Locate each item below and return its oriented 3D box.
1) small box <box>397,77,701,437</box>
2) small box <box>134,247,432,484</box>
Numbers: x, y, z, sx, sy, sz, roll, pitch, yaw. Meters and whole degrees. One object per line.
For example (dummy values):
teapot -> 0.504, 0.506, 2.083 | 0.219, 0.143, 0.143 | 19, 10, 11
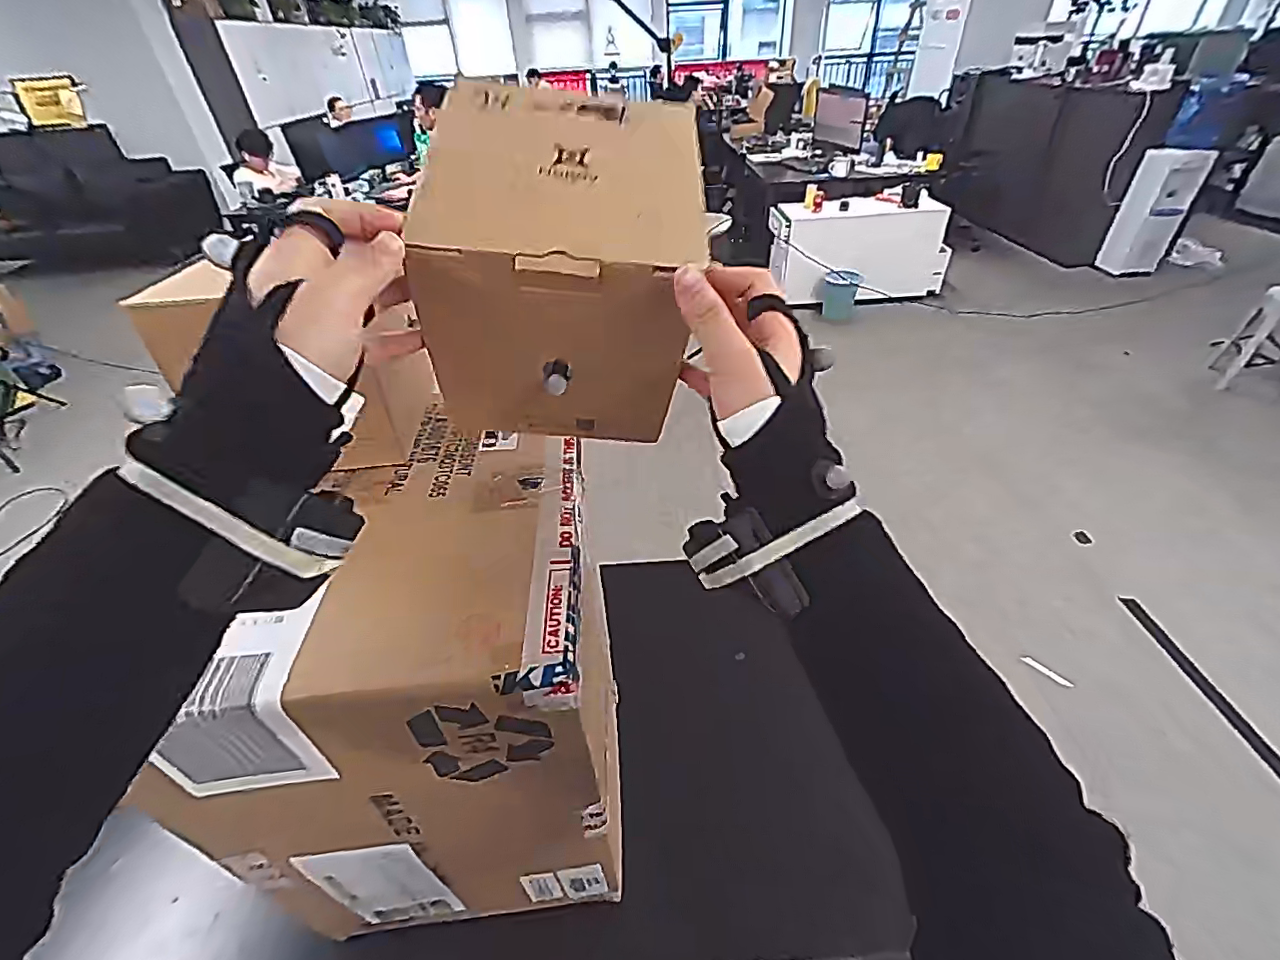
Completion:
small box -> -0.053, -0.147, 0.394 | 0.168, 0.176, 0.179 | 3, 62, -6
small box -> -0.317, -0.117, 0.532 | 0.168, 0.176, 0.179 | -7, 37, -6
